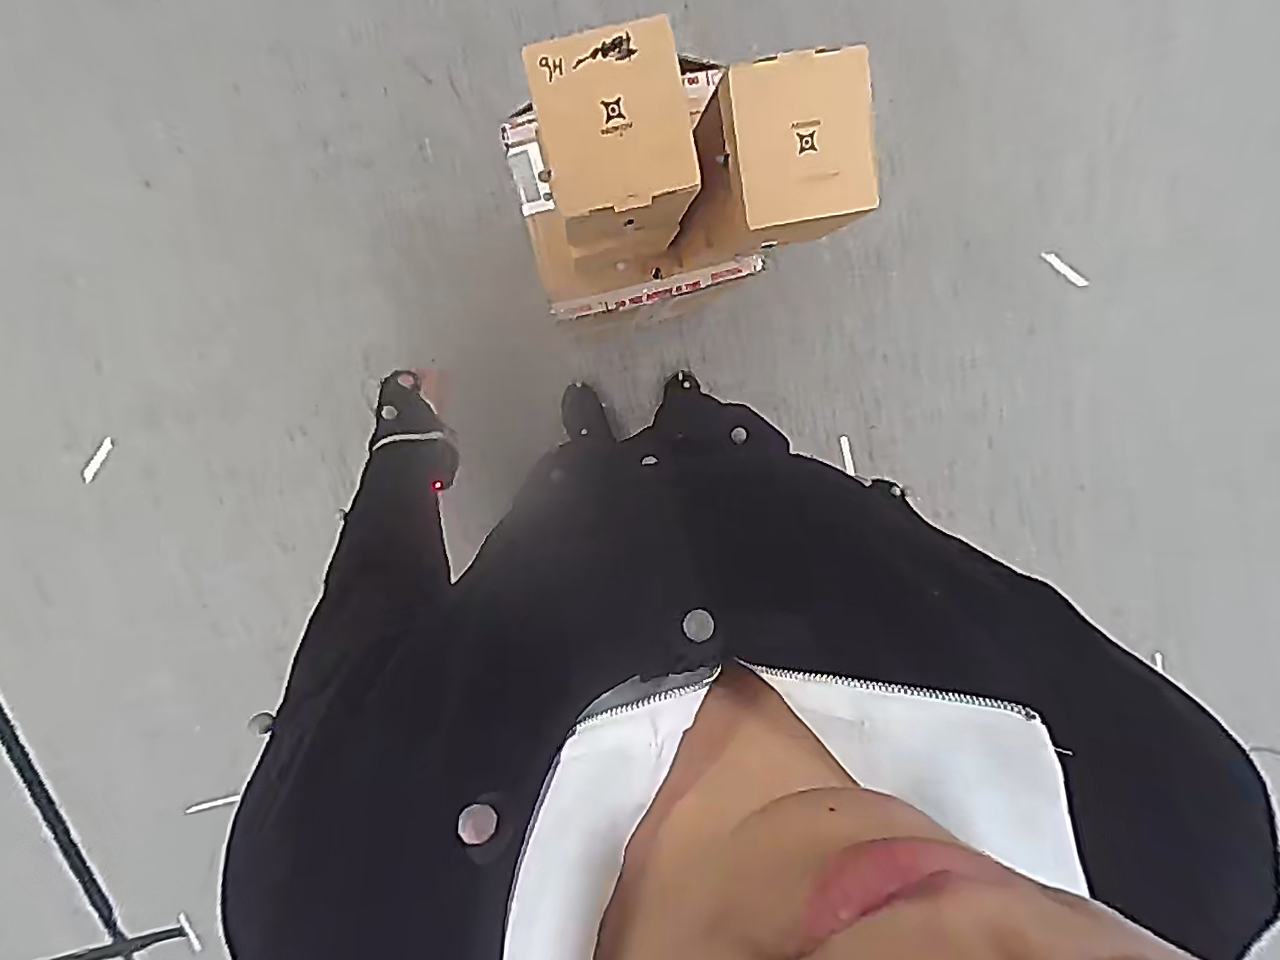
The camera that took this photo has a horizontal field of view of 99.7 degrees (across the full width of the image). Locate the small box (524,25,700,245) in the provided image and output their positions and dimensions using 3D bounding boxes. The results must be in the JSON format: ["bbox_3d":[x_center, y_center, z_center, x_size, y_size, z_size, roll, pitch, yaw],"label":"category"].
[{"bbox_3d":[-0.031,-0.408,0.677,0.168,0.176,0.179,-14,104,-1],"label":"small box"}]

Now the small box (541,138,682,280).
[{"bbox_3d":[-0.045,-0.429,0.840,0.168,0.176,0.179,-17,104,-1],"label":"small box"}]

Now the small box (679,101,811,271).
[{"bbox_3d":[0.147,-0.450,0.854,0.168,0.176,0.179,-15,103,-3],"label":"small box"}]
